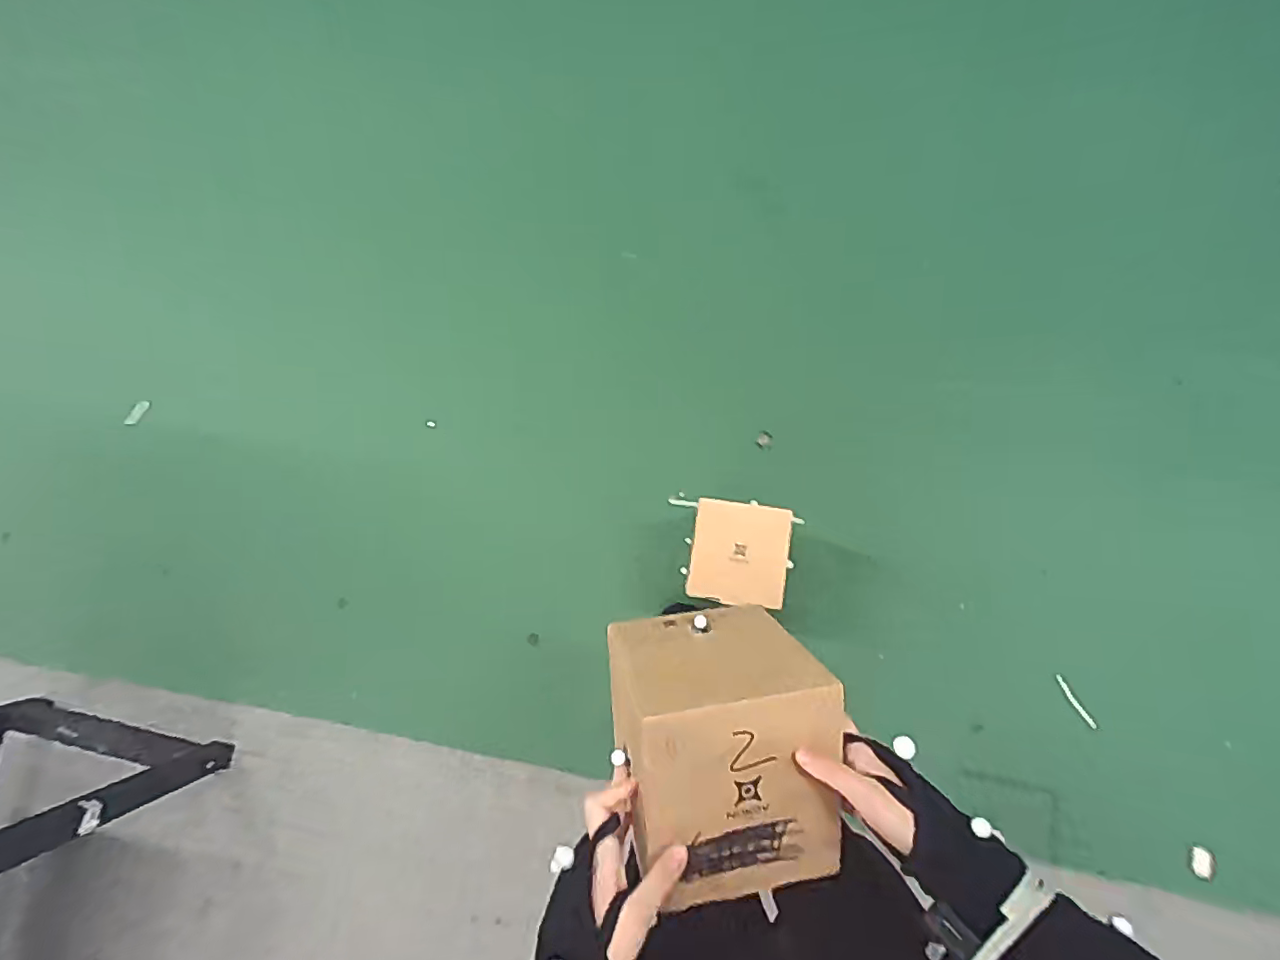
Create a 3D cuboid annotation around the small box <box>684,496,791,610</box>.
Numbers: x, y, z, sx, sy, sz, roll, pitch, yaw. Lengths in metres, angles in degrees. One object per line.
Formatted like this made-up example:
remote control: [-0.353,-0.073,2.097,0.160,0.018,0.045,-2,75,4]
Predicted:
small box: [0.175,0.136,1.018,0.168,0.176,0.179,9,84,5]
